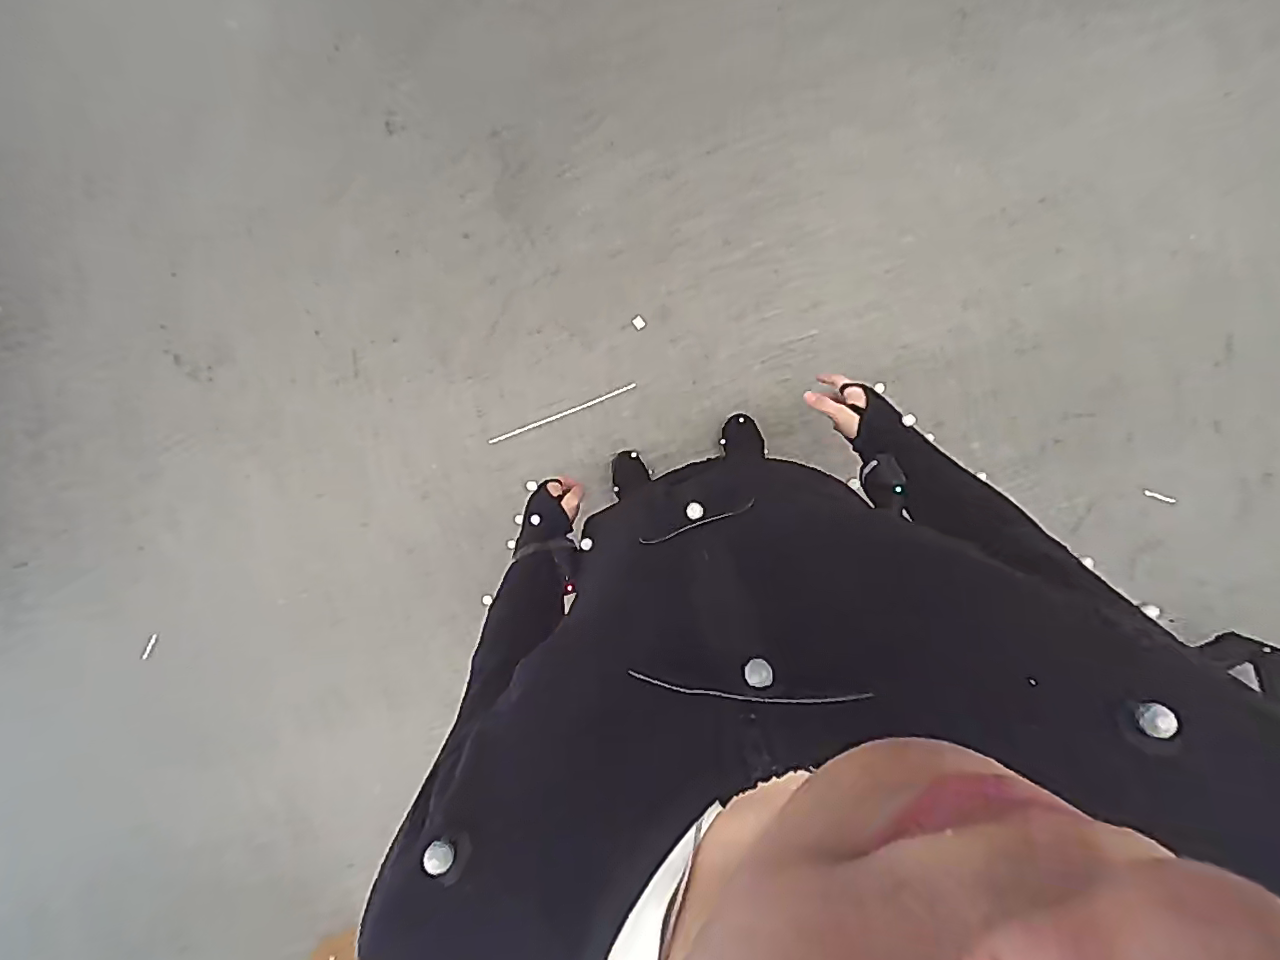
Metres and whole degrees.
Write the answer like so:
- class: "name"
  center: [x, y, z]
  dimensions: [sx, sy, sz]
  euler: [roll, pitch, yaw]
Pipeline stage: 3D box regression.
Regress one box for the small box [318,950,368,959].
- class: "small box"
  center: [-0.972, 1.644, 1.712]
  dimensions: [0.179, 0.176, 0.168]
  euler: [-13, 93, 2]
